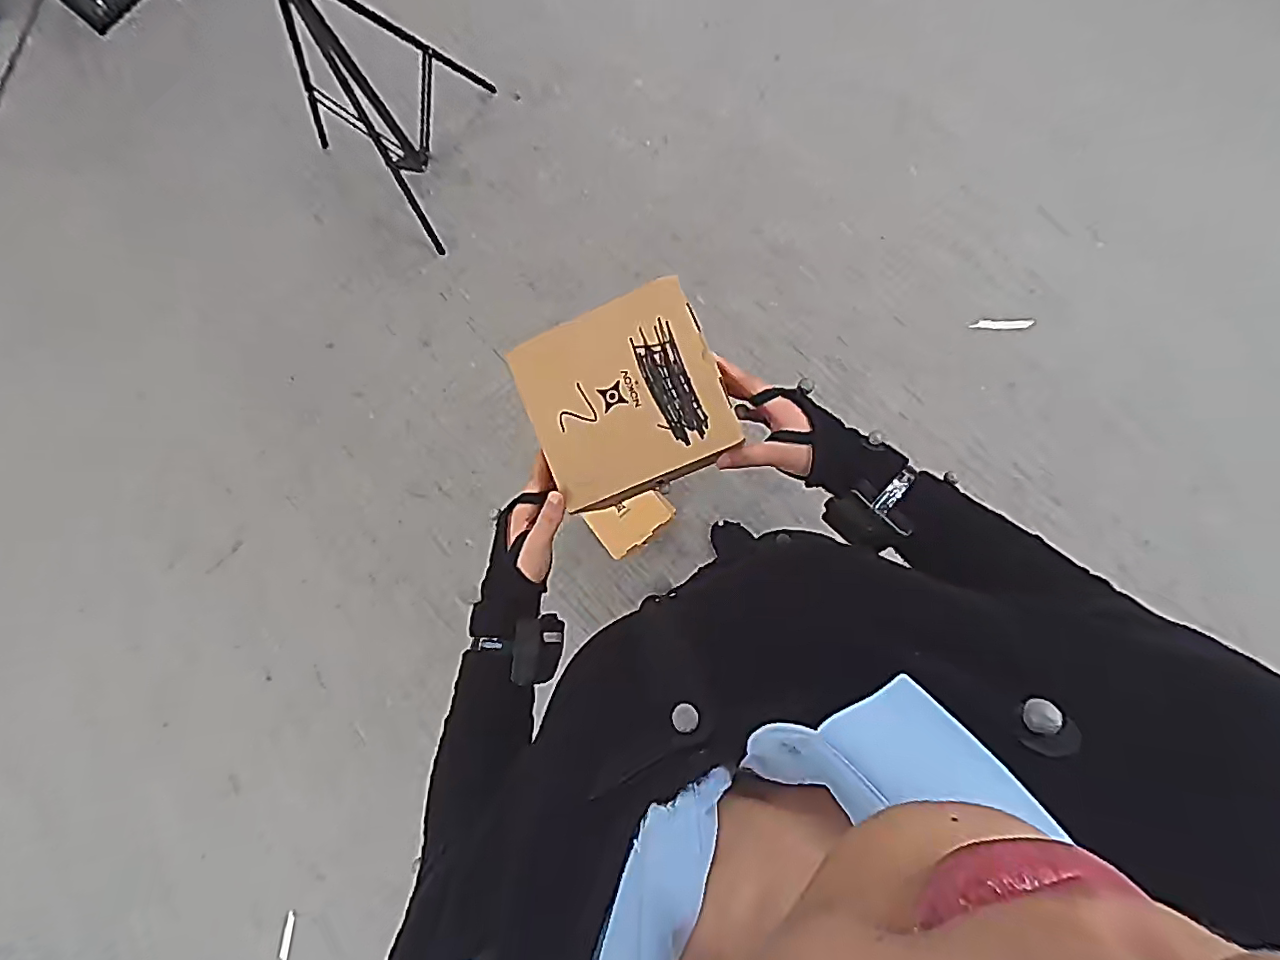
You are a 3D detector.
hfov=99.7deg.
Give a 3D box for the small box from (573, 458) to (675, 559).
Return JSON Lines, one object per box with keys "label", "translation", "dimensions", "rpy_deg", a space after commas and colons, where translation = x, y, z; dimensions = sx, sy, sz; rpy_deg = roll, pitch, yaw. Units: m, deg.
{"label": "small box", "translation": [-0.032, 0.075, 1.296], "dimensions": [0.168, 0.176, 0.179], "rpy_deg": [-39, 81, 0]}
